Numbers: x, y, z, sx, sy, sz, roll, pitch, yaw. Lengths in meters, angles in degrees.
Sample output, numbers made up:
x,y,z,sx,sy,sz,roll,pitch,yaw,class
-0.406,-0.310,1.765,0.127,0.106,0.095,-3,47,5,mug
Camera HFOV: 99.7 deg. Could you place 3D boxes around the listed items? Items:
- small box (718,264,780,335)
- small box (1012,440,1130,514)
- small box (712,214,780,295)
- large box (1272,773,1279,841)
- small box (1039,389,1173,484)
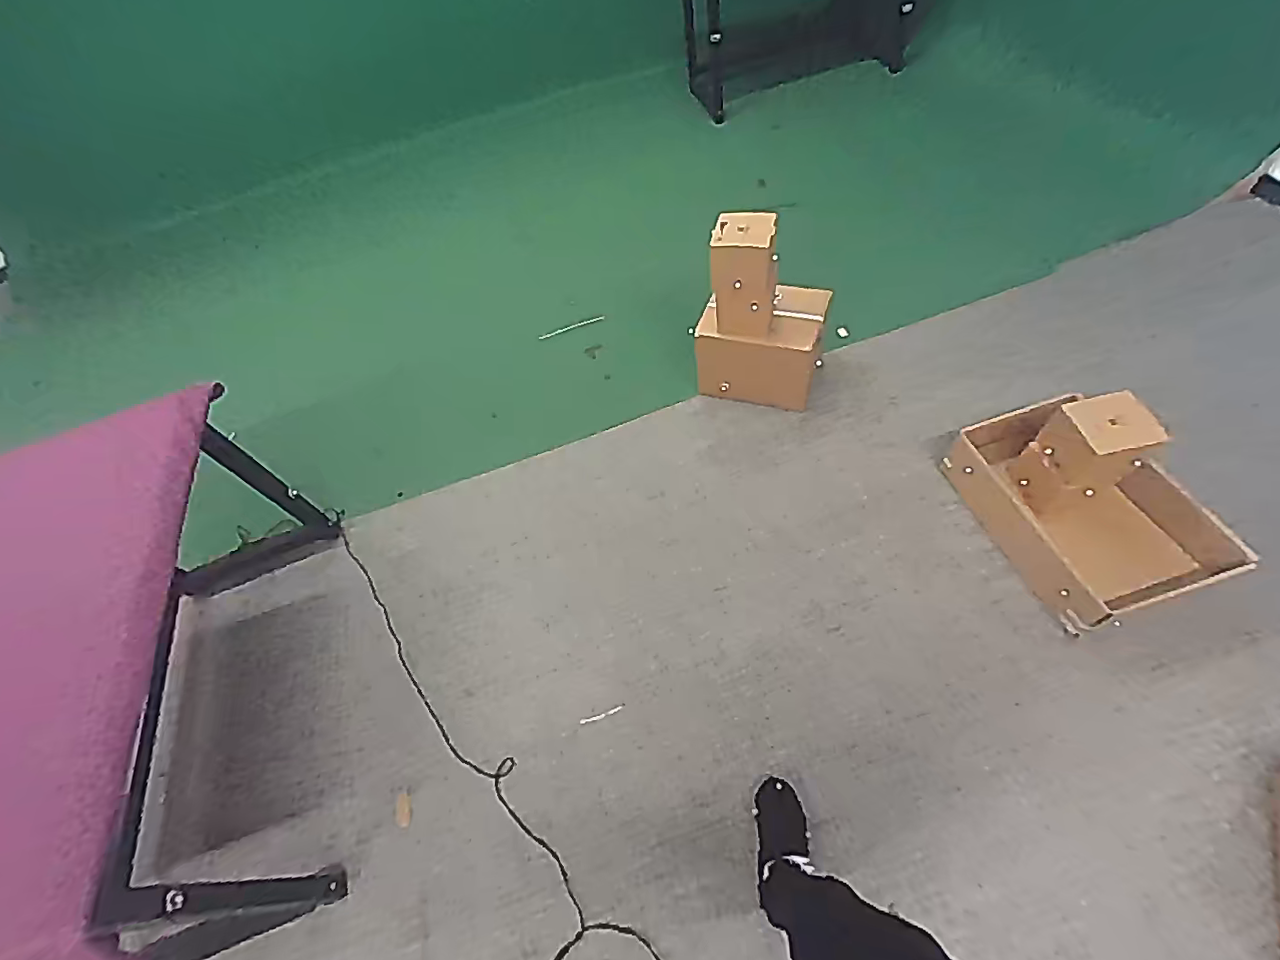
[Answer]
x,y,z,sx,sy,sz,roll,pitch,yaw,class
0.363,-0.603,1.803,0.179,0.176,0.168,9,58,16,small box
1.230,-0.025,1.559,0.179,0.176,0.168,-16,58,2,small box
0.326,-0.695,1.672,0.179,0.176,0.168,10,59,16,small box
1.452,0.769,0.953,0.320,0.320,0.408,17,60,21,large box
1.209,-0.110,1.421,0.179,0.176,0.168,-13,57,4,small box
